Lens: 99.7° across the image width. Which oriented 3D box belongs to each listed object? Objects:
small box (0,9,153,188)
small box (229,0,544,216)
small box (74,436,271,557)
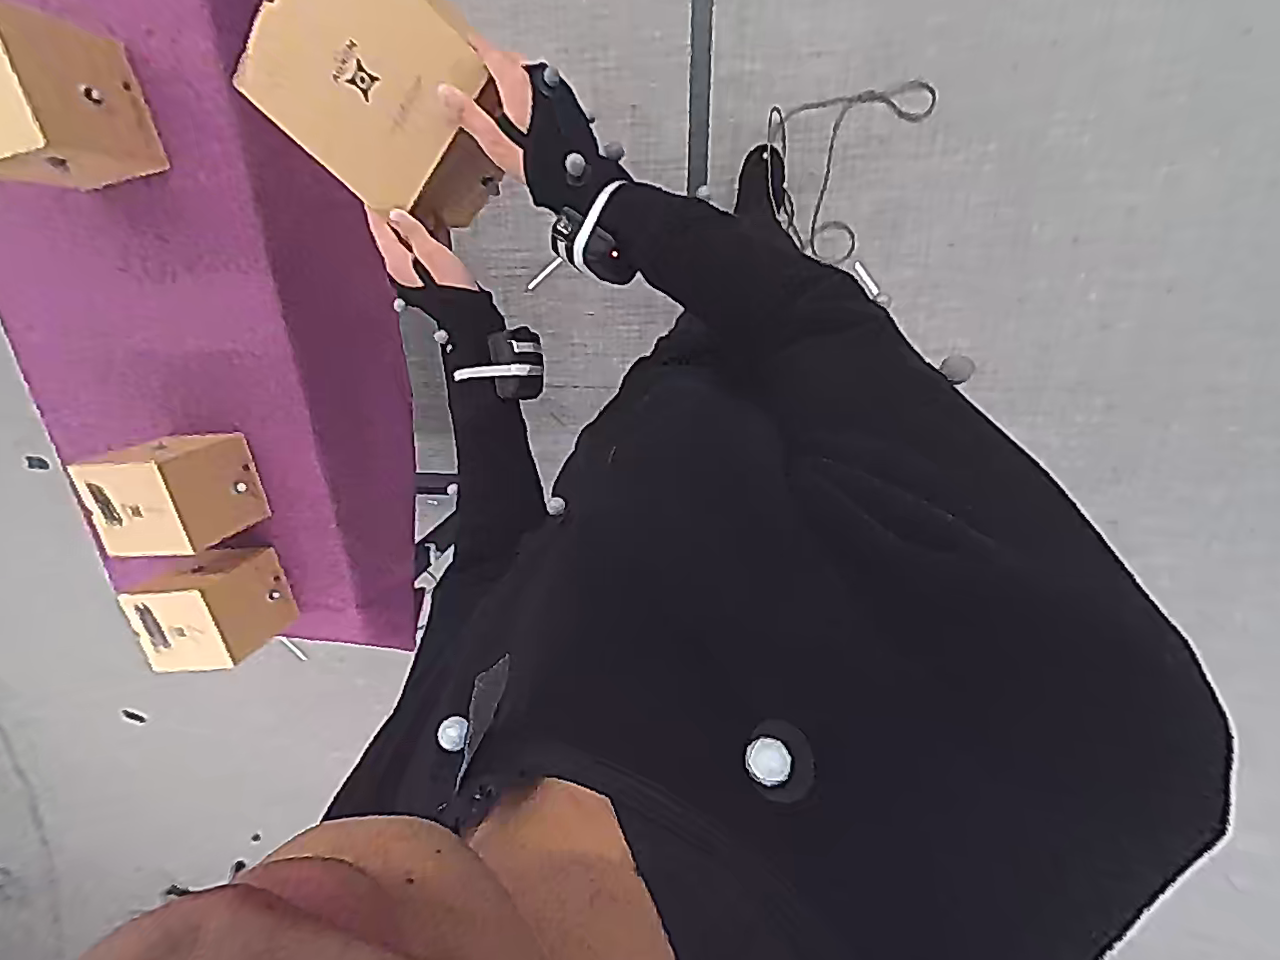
[{"bbox_3d":[-0.835,-0.517,0.747,0.179,0.176,0.168,-4,111,13],"label":"small box"},{"bbox_3d":[-0.223,-0.377,0.516,0.179,0.176,0.168,42,115,-12],"label":"small box"},{"bbox_3d":[-0.813,0.024,0.959,0.179,0.176,0.168,-2,111,11],"label":"small box"}]
